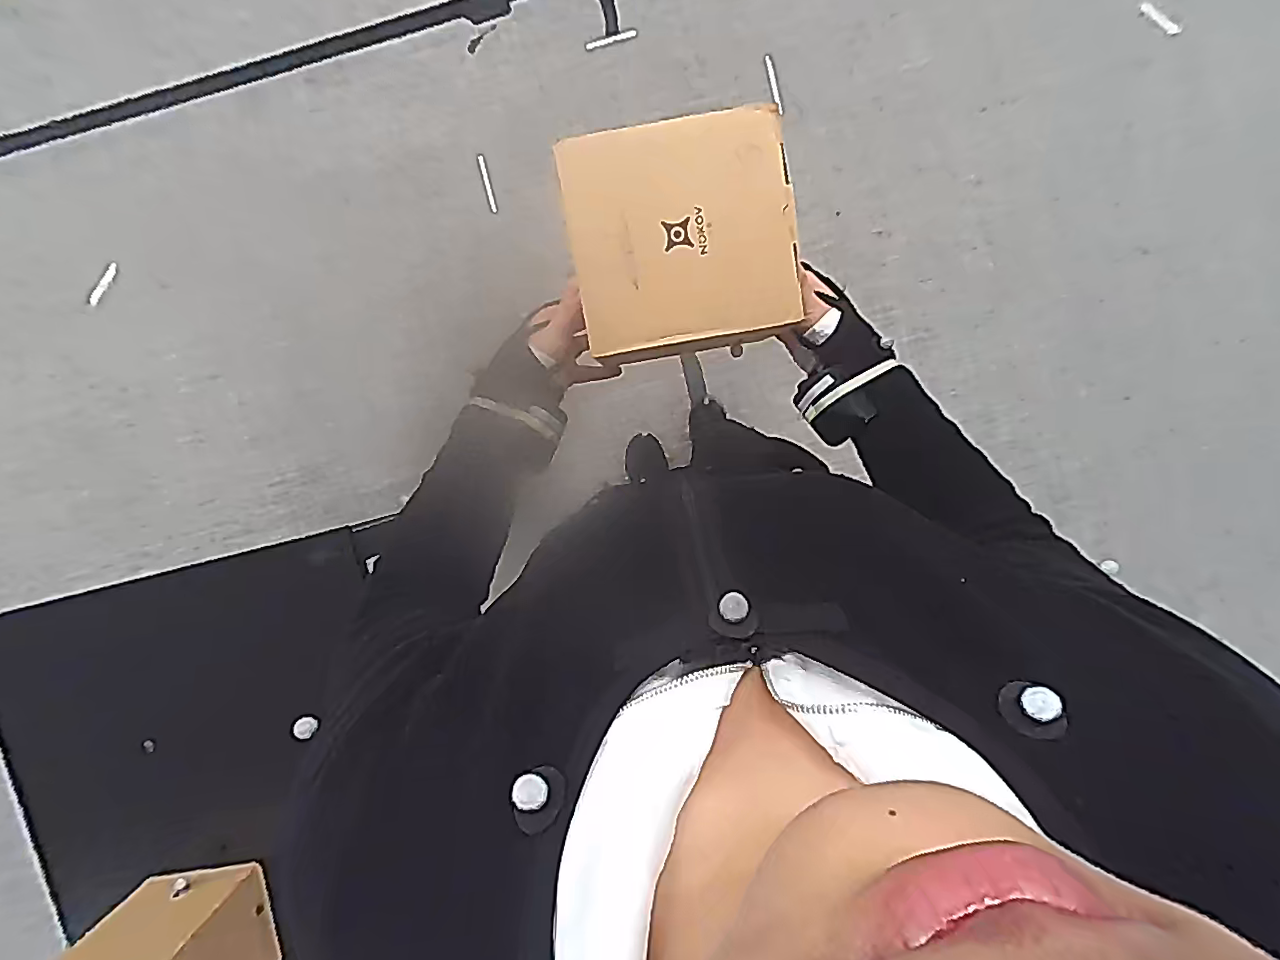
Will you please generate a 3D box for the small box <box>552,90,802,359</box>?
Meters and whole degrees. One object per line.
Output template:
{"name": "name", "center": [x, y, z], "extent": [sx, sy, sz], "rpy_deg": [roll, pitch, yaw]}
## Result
{"name": "small box", "center": [0.030, -0.211, 0.497], "extent": [0.179, 0.176, 0.168], "rpy_deg": [-10, 97, 2]}
